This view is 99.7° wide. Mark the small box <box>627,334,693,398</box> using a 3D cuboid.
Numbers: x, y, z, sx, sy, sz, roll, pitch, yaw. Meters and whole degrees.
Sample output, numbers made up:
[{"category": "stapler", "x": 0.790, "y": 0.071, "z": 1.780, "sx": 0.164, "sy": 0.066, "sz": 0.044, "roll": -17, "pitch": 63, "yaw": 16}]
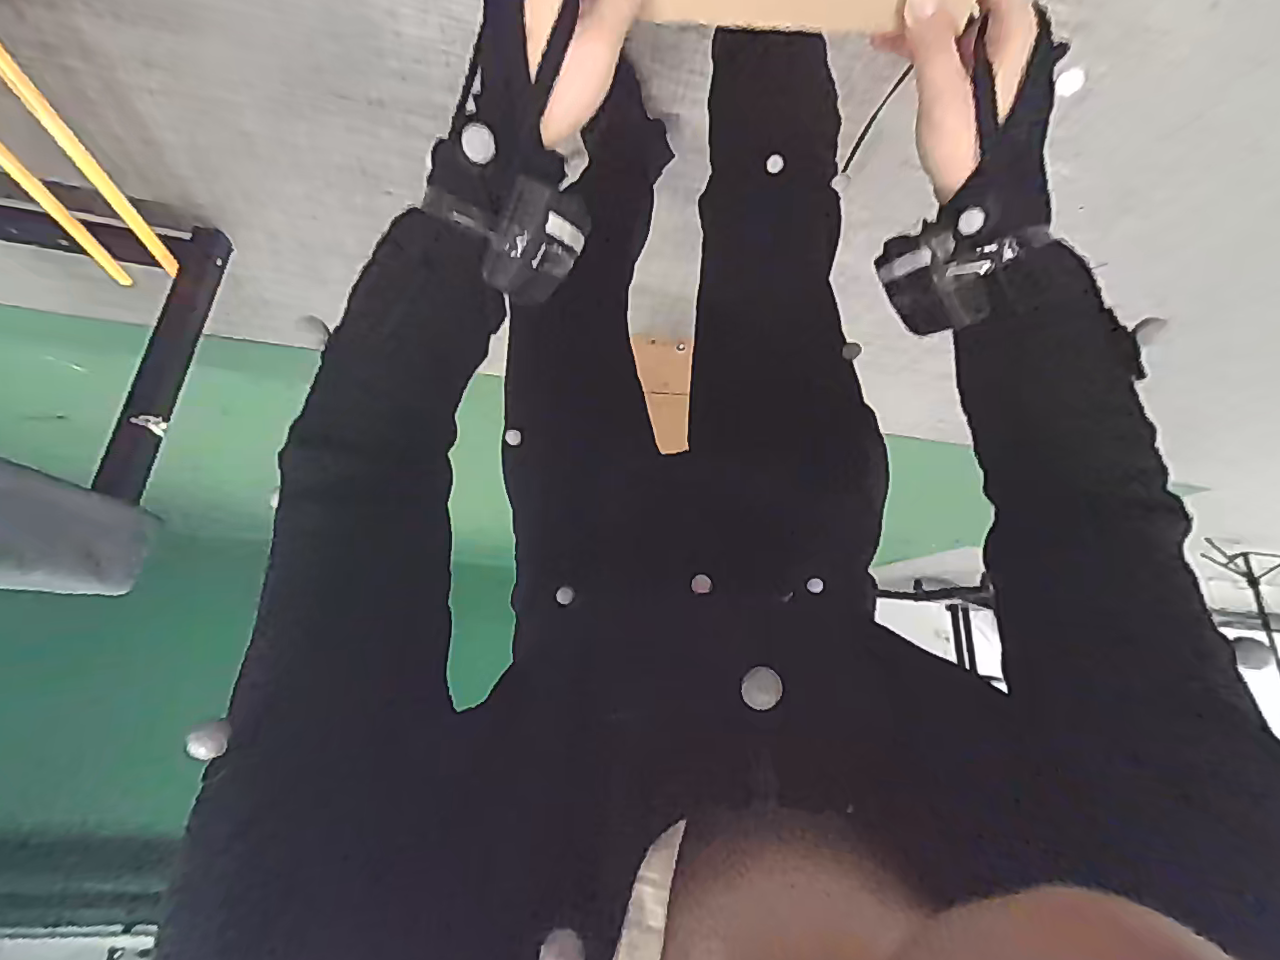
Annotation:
[{"category": "small box", "x": 0.049, "y": -0.270, "z": 1.438, "sx": 0.168, "sy": 0.176, "sz": 0.179, "roll": 4, "pitch": 162, "yaw": -1}]
